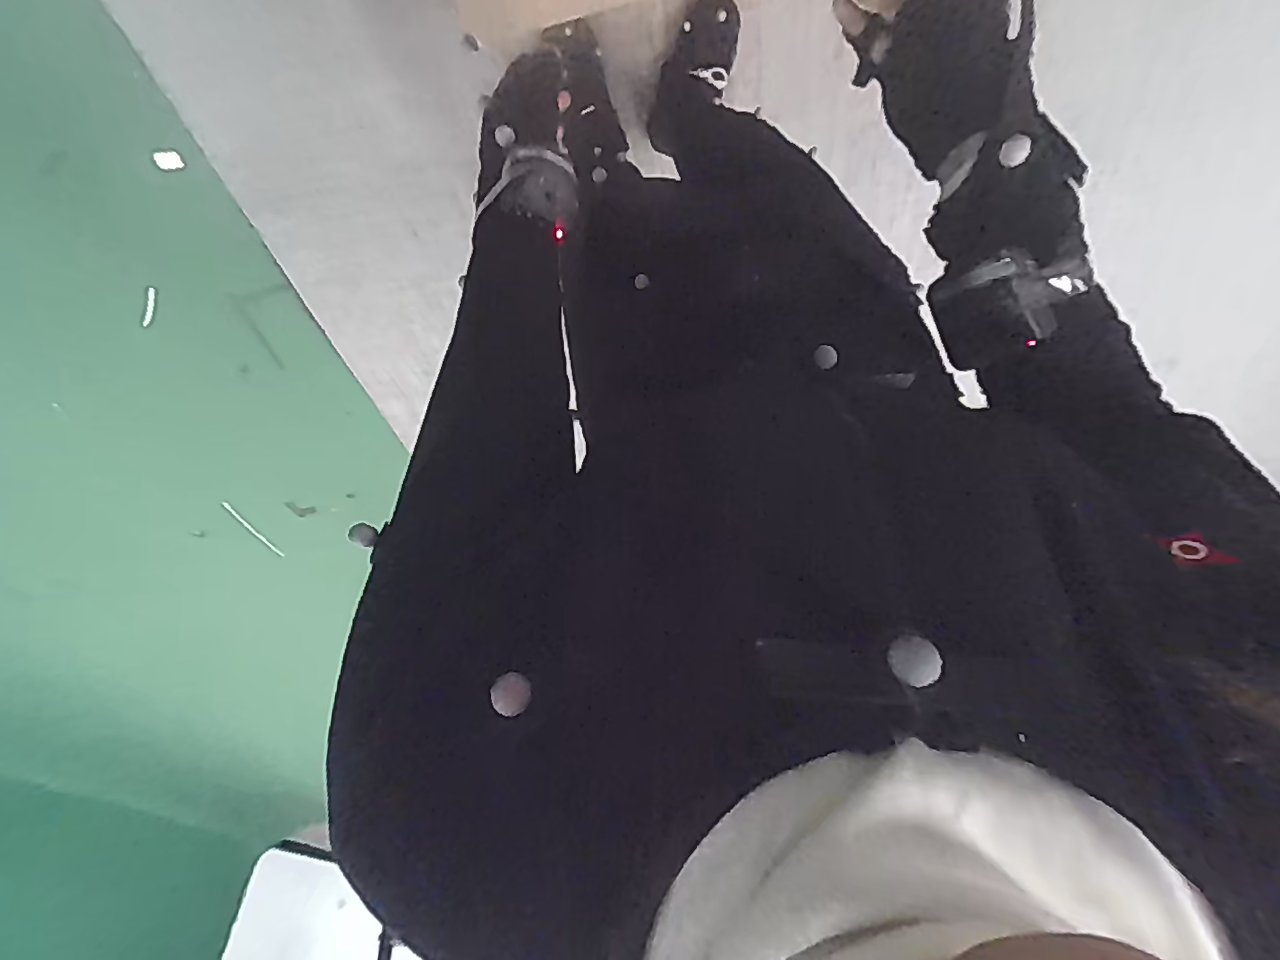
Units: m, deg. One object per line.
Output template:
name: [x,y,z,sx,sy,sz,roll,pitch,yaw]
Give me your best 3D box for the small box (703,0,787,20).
small box: [0.093,-0.409,0.308,0.168,0.176,0.179,-21,133,7]
